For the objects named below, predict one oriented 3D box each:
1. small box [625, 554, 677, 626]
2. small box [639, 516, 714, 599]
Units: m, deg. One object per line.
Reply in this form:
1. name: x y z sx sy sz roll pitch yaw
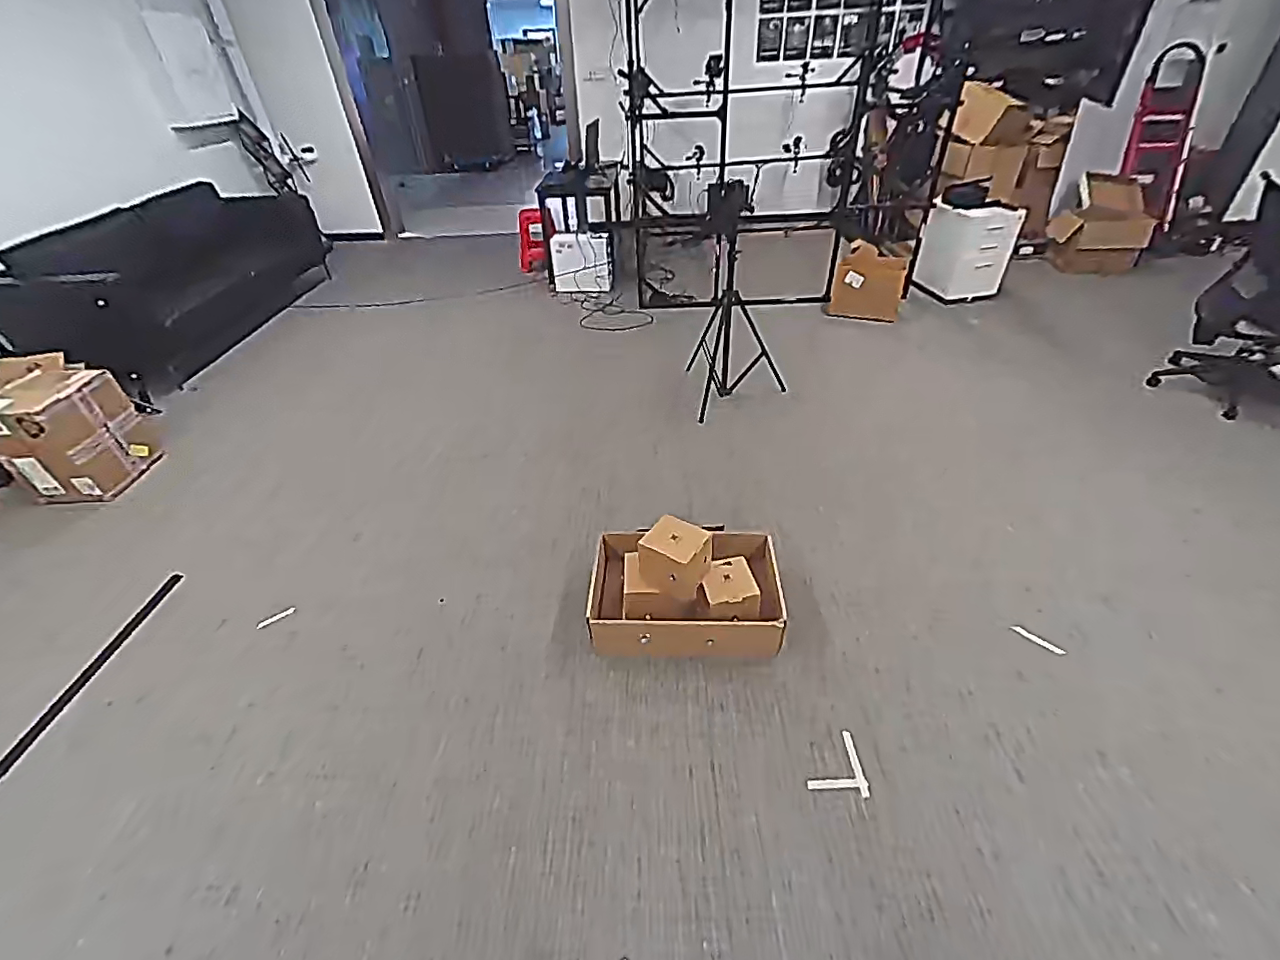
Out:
1. small box: 0.036 0.367 1.814 0.168 0.176 0.179 -1 38 1
2. small box: 0.115 0.246 1.700 0.179 0.176 0.168 20 41 29
